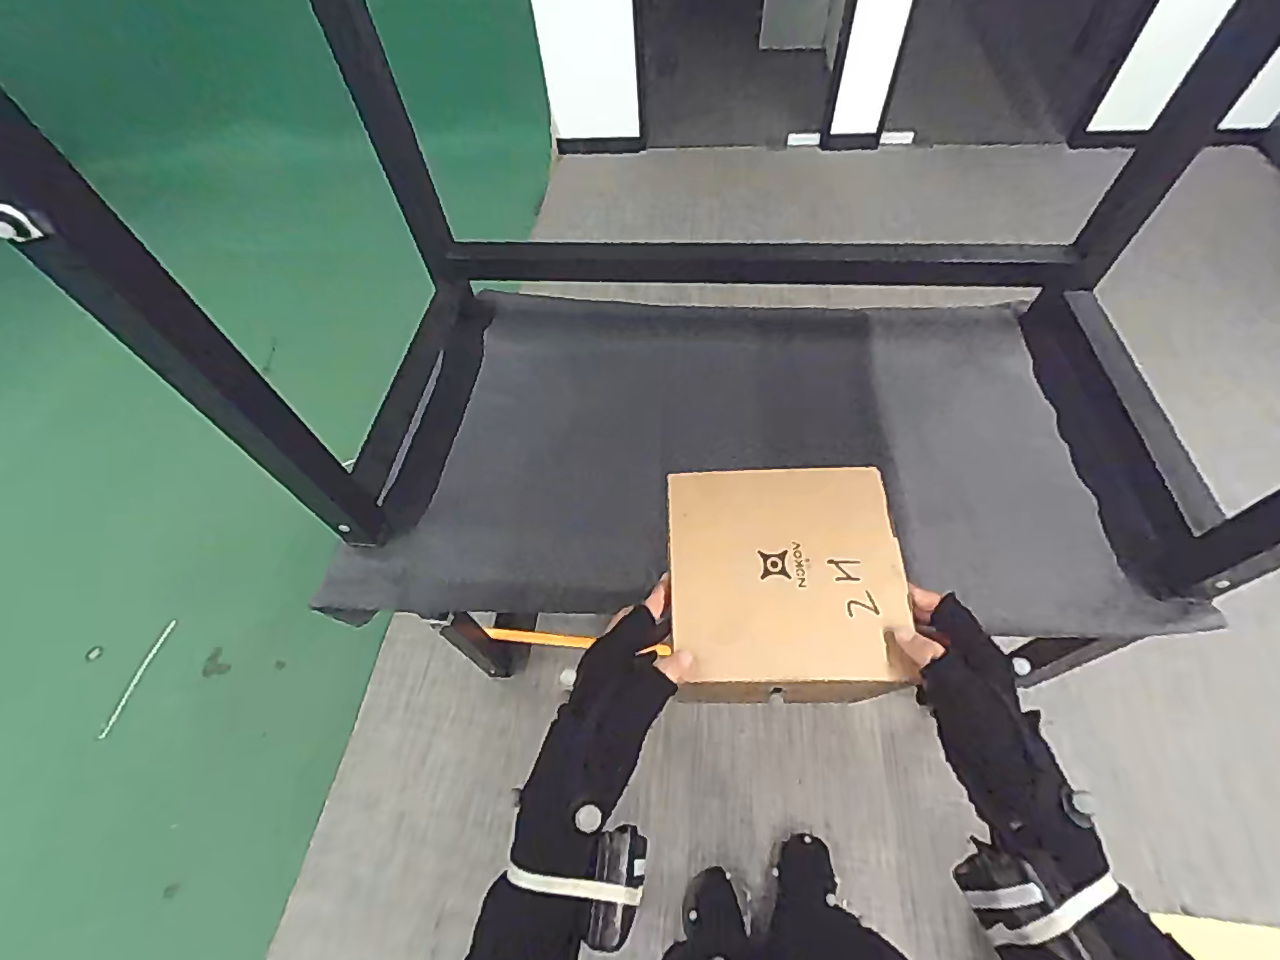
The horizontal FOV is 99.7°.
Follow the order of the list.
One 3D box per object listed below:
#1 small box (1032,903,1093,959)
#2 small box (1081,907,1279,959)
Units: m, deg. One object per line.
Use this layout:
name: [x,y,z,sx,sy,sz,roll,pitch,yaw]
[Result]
small box: [0.772,0.793,0.855,0.168,0.176,0.179,1,55,5]
small box: [0.748,0.696,0.726,0.168,0.176,0.179,3,56,7]
